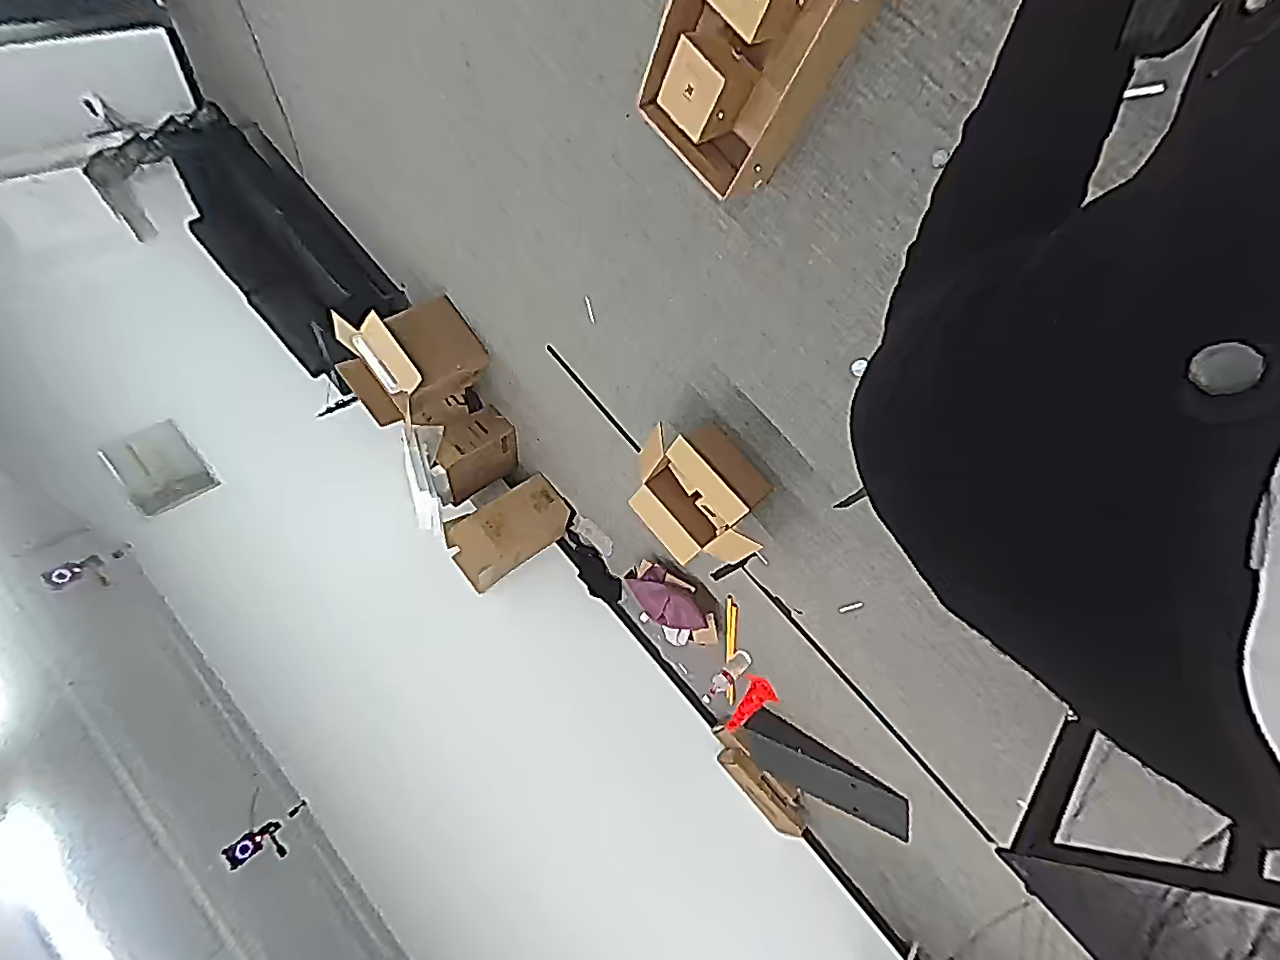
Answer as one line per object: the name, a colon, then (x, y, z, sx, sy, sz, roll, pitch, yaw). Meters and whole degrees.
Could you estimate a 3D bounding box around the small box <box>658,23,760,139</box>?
small box: (0.184, -1.053, 1.425, 0.168, 0.176, 0.179, 48, 150, 3)
